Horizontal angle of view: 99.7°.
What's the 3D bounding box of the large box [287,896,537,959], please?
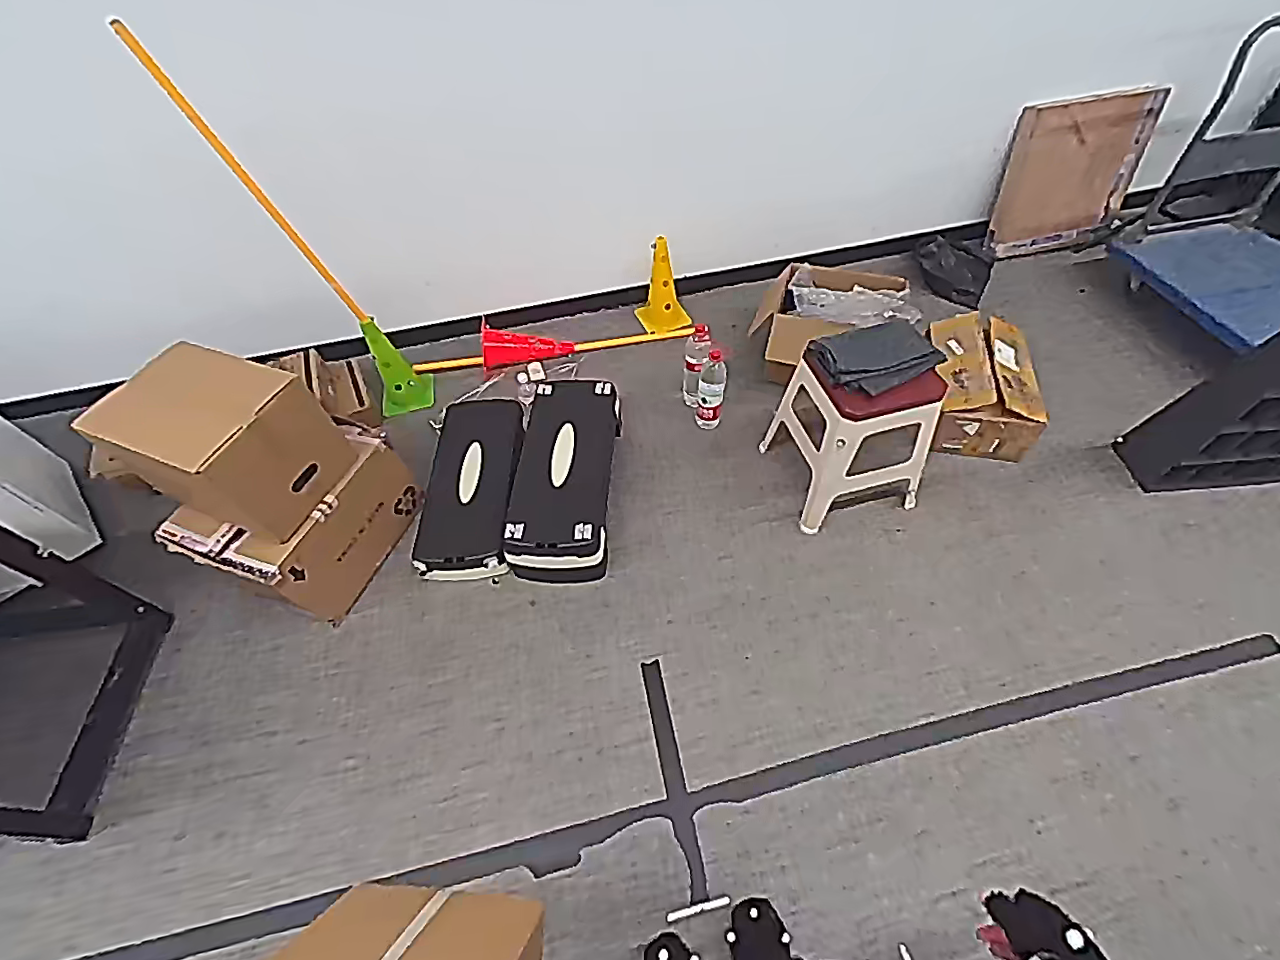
[{"bbox_3d":[-0.331,0.779,0.625,0.320,0.408,0.320,-1,80,7],"label":"large box"}]
